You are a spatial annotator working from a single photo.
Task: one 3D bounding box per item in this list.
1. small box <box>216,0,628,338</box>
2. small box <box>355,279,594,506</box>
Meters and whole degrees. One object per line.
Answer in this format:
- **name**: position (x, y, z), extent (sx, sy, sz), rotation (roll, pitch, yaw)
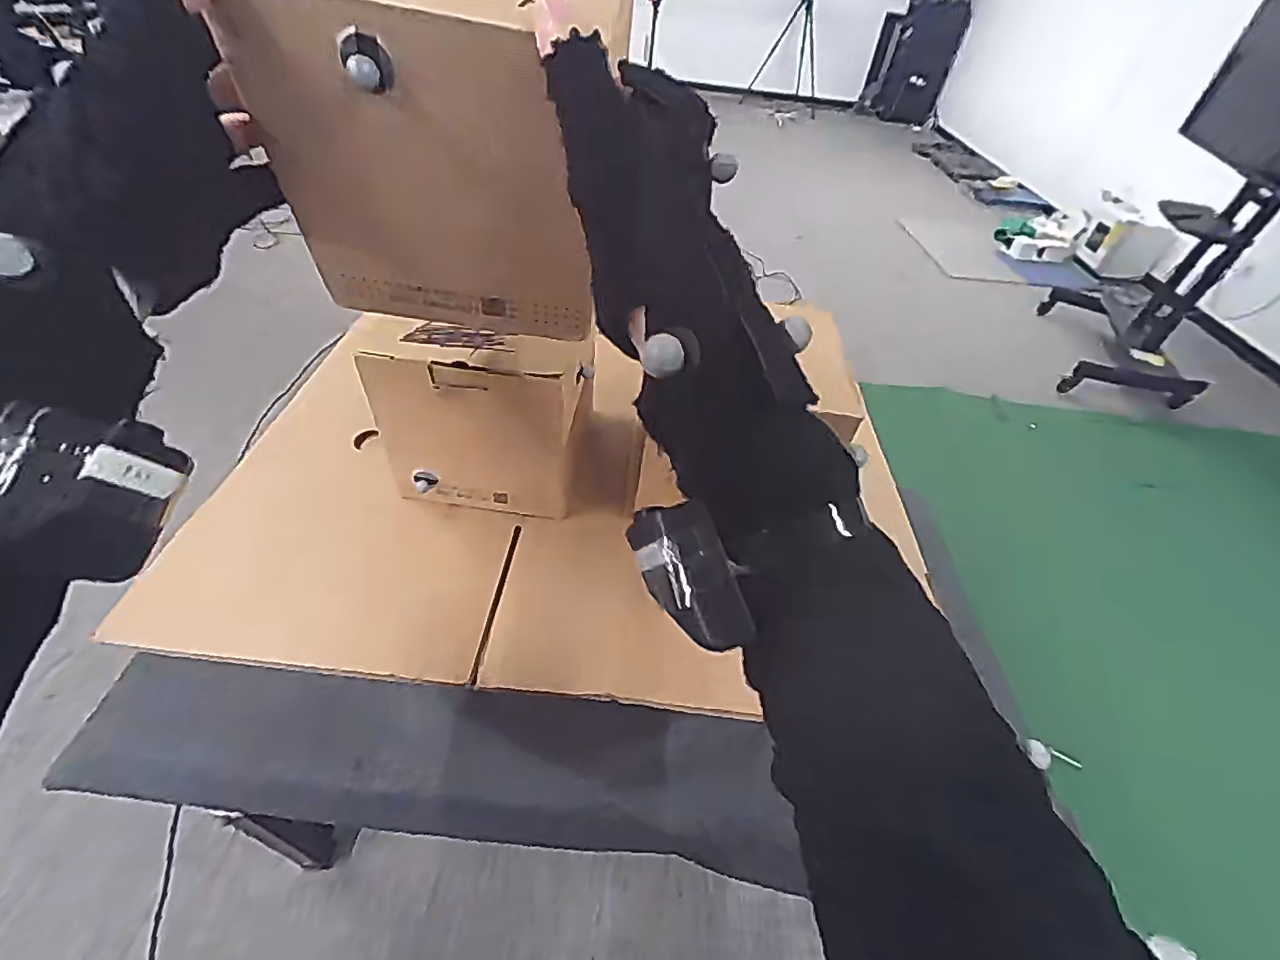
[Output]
- **small box**: position (-0.102, -0.219, 0.333), extent (0.168, 0.176, 0.179), rotation (7, 58, -3)
- **small box**: position (-0.140, -0.095, 0.534), extent (0.168, 0.176, 0.179), rotation (8, 45, 1)
